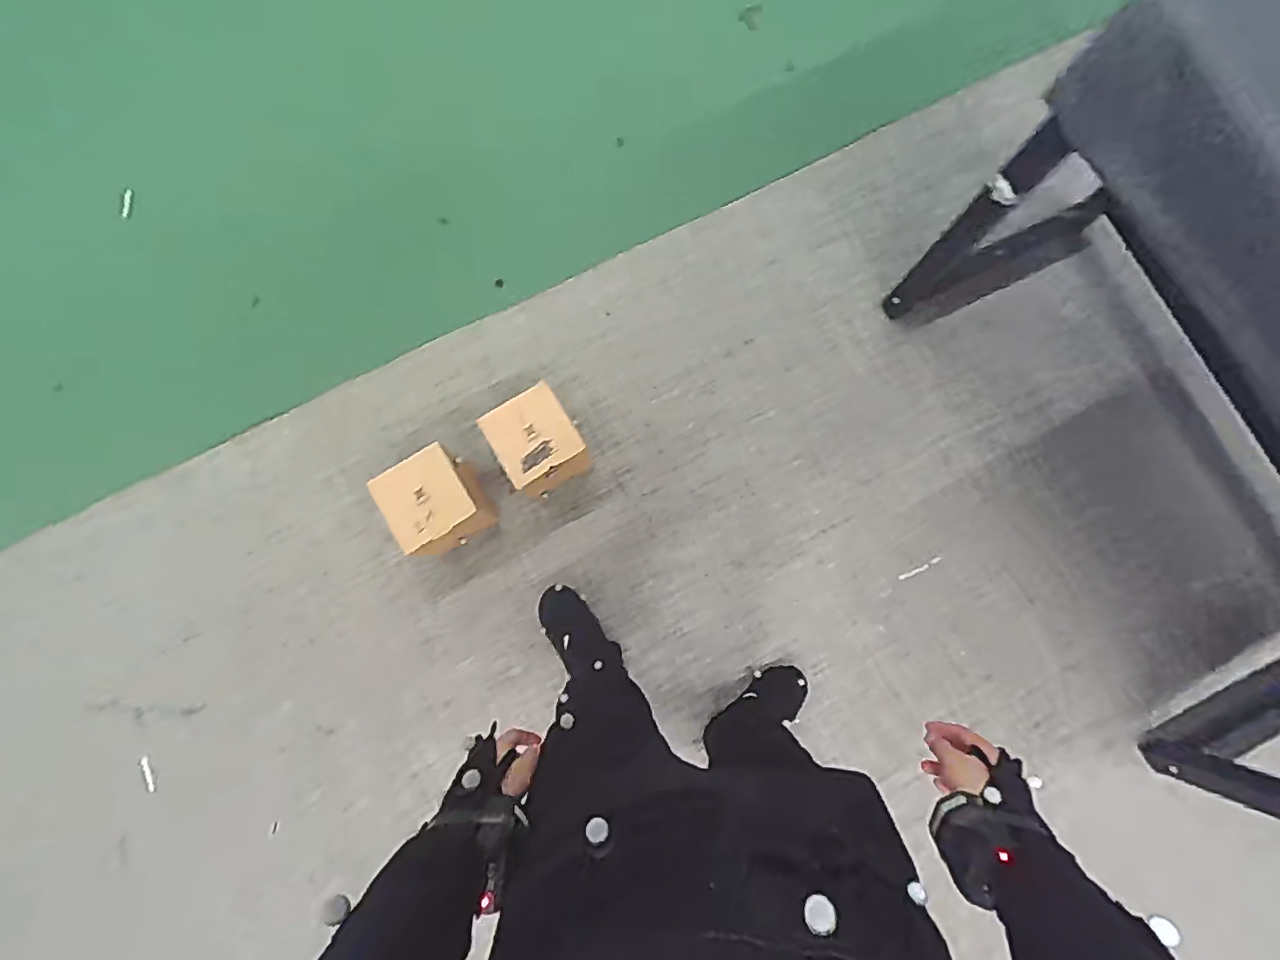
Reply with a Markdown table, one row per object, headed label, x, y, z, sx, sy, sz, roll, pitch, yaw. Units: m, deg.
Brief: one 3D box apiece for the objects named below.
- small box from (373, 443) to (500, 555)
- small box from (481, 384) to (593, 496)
| label | x | y | z | sx | sy | sz | roll | pitch | yaw |
| --- | --- | --- | --- | --- | --- | --- | --- | --- | --- |
| small box | -0.430 | 0.049 | 1.166 | 0.168 | 0.176 | 0.179 | -31 | 82 | -4 |
| small box | -0.216 | -0.076 | 1.186 | 0.168 | 0.176 | 0.179 | -31 | 81 | -5 |
